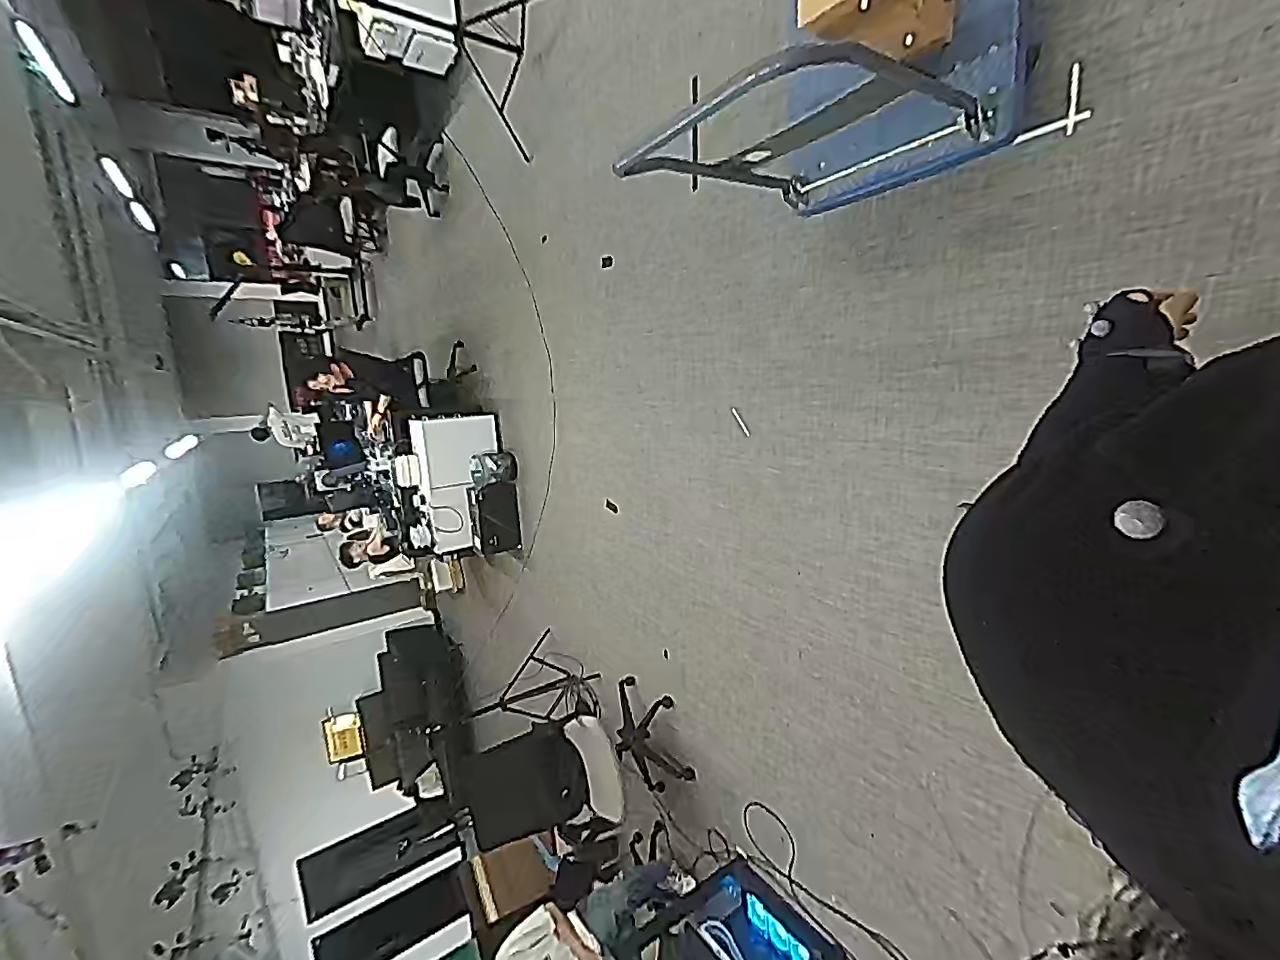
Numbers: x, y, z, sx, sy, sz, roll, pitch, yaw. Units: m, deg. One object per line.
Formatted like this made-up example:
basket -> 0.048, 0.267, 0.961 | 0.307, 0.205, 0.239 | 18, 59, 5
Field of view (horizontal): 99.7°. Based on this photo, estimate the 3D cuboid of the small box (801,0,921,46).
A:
small box -> 0.445, -1.016, 1.078 | 0.179, 0.176, 0.168 | 12, 109, 53
